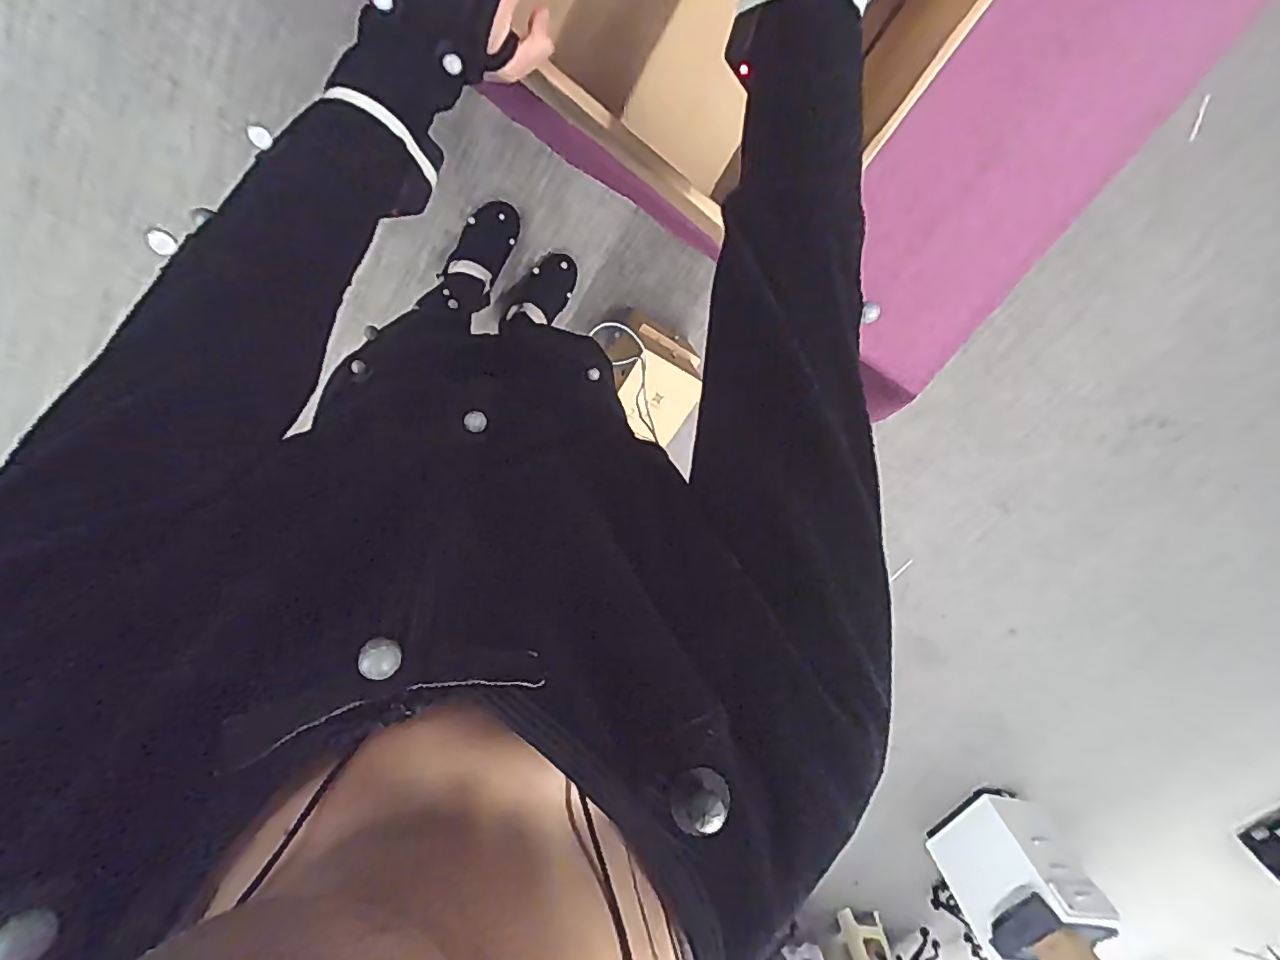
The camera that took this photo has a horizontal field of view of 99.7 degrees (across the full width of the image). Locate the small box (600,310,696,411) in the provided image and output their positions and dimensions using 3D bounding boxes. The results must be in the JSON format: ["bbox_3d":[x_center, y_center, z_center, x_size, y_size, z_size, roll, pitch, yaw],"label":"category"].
[{"bbox_3d":[0.014,-0.311,1.384,0.179,0.176,0.168,27,113,-22],"label":"small box"}]
